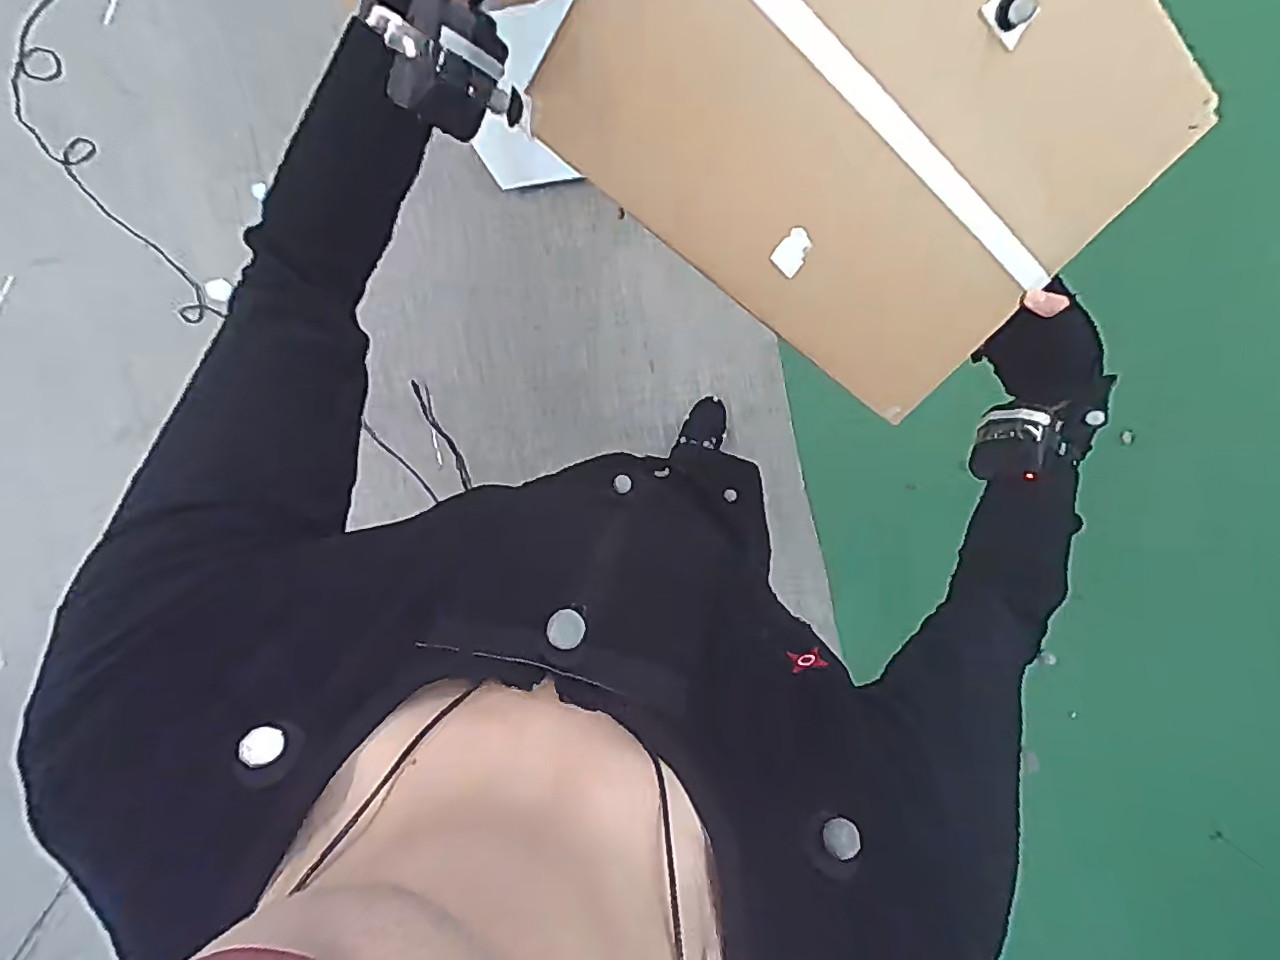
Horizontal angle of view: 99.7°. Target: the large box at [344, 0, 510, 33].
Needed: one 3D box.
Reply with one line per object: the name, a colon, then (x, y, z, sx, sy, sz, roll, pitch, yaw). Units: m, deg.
large box: (-0.348, -0.949, 0.733, 0.320, 0.320, 0.408, -8, 91, 4)
